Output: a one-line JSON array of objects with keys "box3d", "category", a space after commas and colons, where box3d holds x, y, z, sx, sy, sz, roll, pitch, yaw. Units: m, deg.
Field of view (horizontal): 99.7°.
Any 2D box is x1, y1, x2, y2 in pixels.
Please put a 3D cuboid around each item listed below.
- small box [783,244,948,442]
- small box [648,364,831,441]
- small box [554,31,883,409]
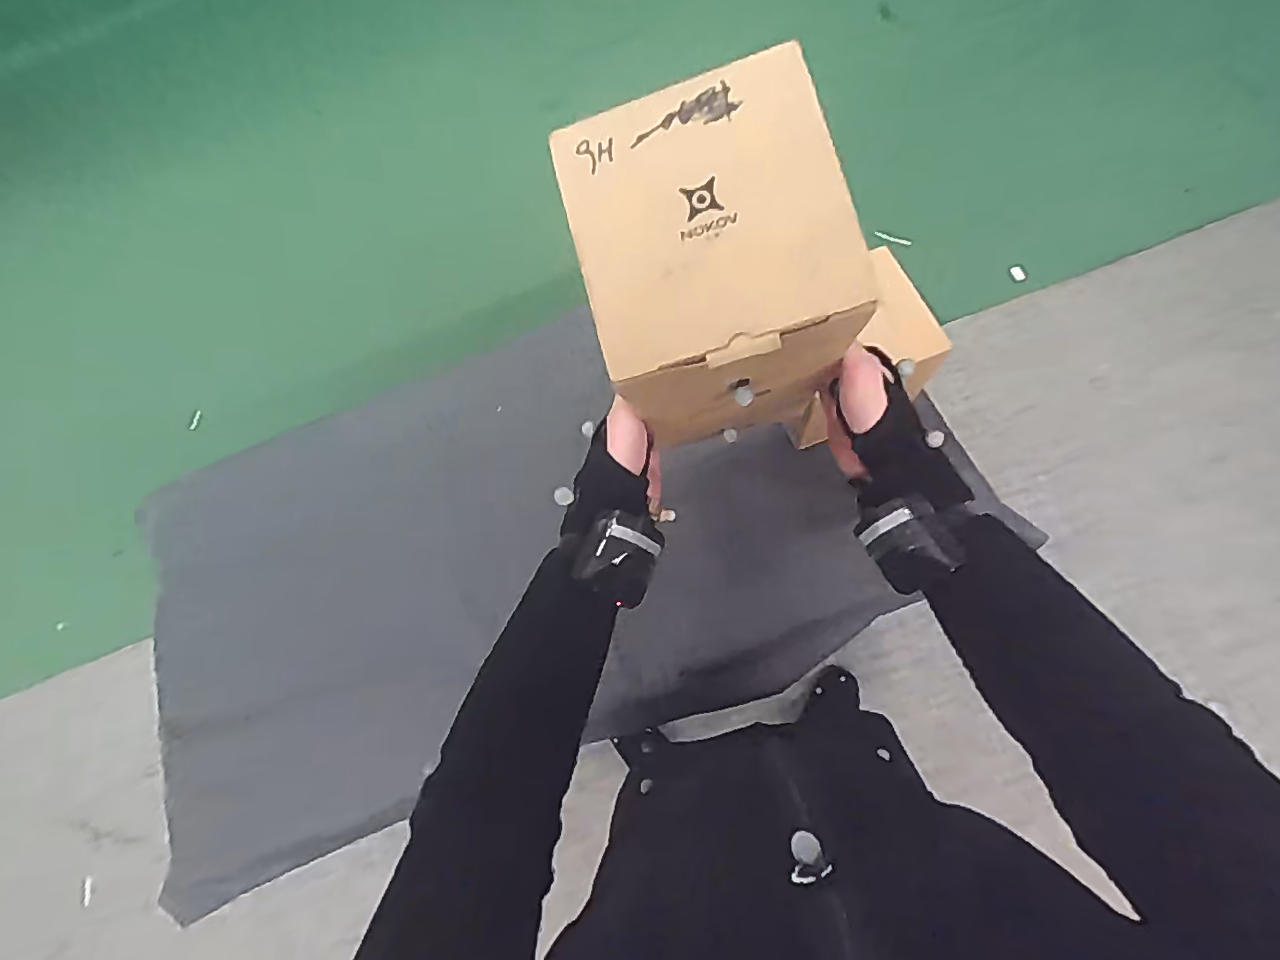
[{"box3d": [0.267, -0.173, 0.735, 0.179, 0.176, 0.168, -22, 72, 0], "category": "small box"}, {"box3d": [0.083, -0.152, 0.565, 0.168, 0.176, 0.179, -14, 84, 9], "category": "small box"}, {"box3d": [0.056, -0.160, 0.404, 0.168, 0.176, 0.179, -16, 84, 9], "category": "small box"}]
